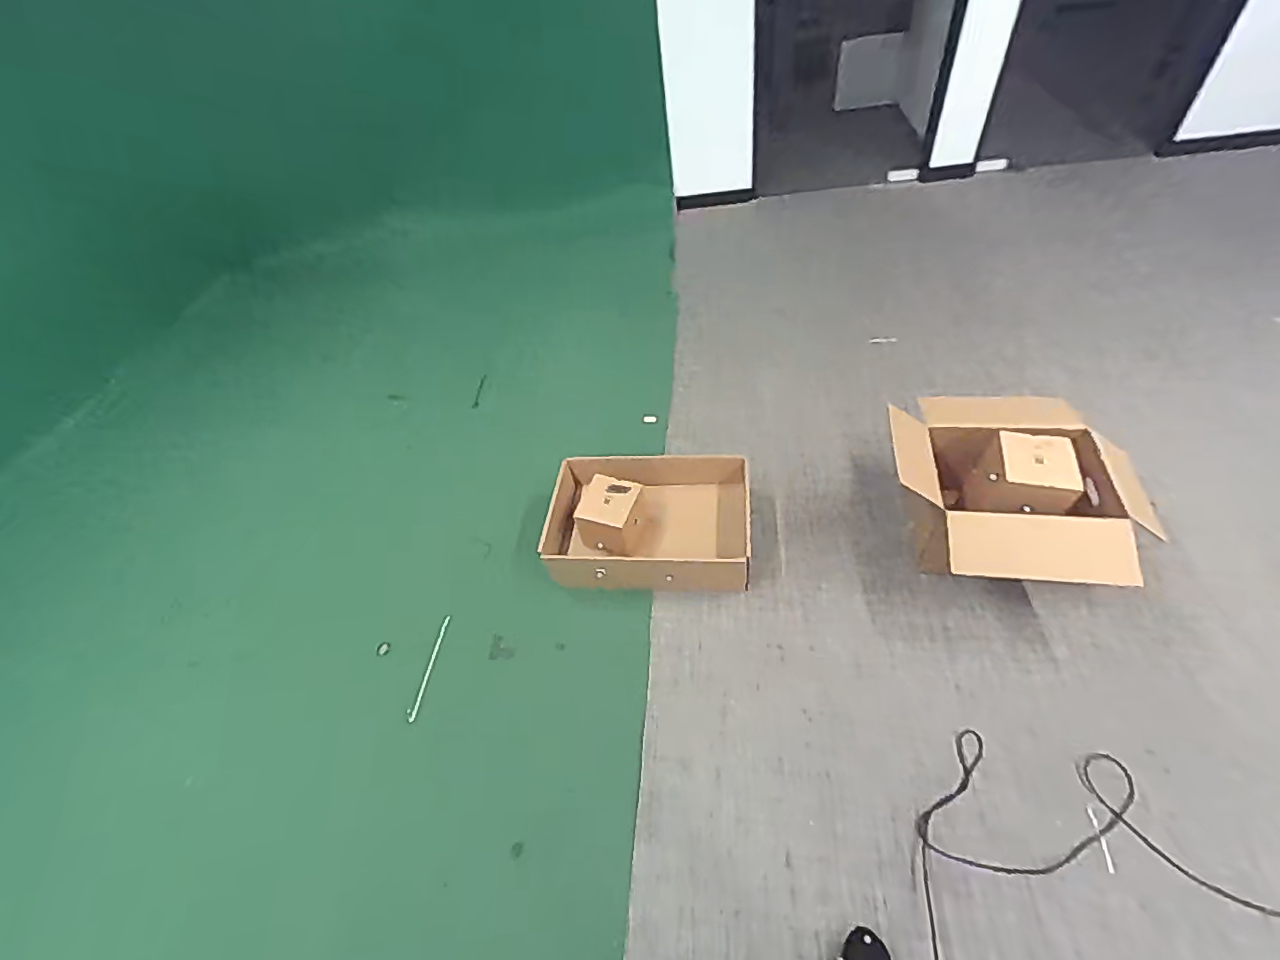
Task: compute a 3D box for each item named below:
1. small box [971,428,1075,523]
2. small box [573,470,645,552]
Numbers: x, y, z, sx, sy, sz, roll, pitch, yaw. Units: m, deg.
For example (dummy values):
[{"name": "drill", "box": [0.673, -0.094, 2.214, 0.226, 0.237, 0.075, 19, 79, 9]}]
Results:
[{"name": "small box", "box": [1.001, -0.009, 1.429, 0.168, 0.176, 0.179, 9, 53, 13]}, {"name": "small box", "box": [-0.090, 0.098, 1.711, 0.168, 0.176, 0.179, 13, 53, 19]}]
